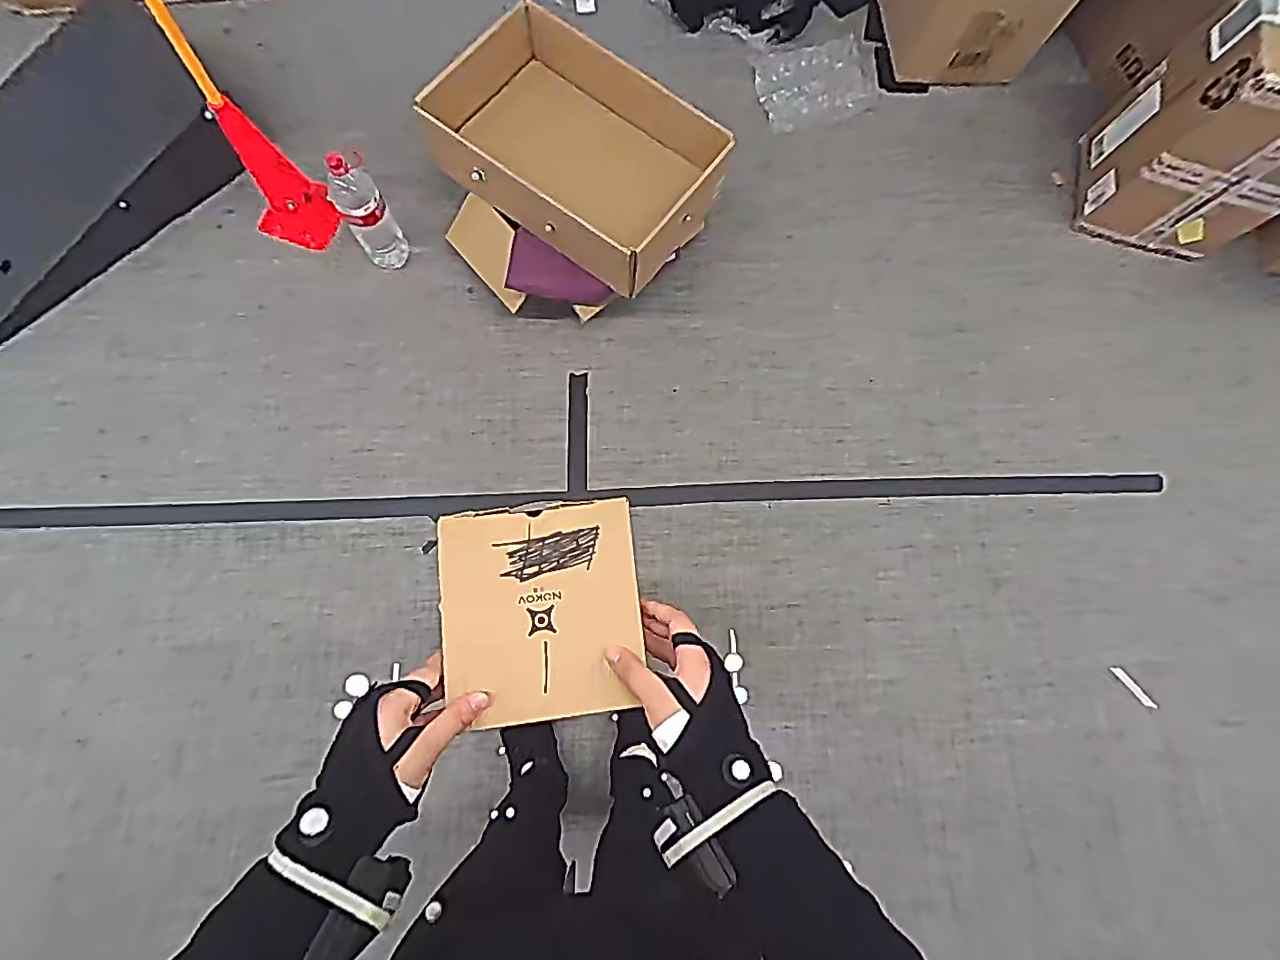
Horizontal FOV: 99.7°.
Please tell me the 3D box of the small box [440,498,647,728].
[{"bbox_3d":[-0.090,0.125,0.534,0.168,0.176,0.179,-6,78,-6],"label":"small box"}]
